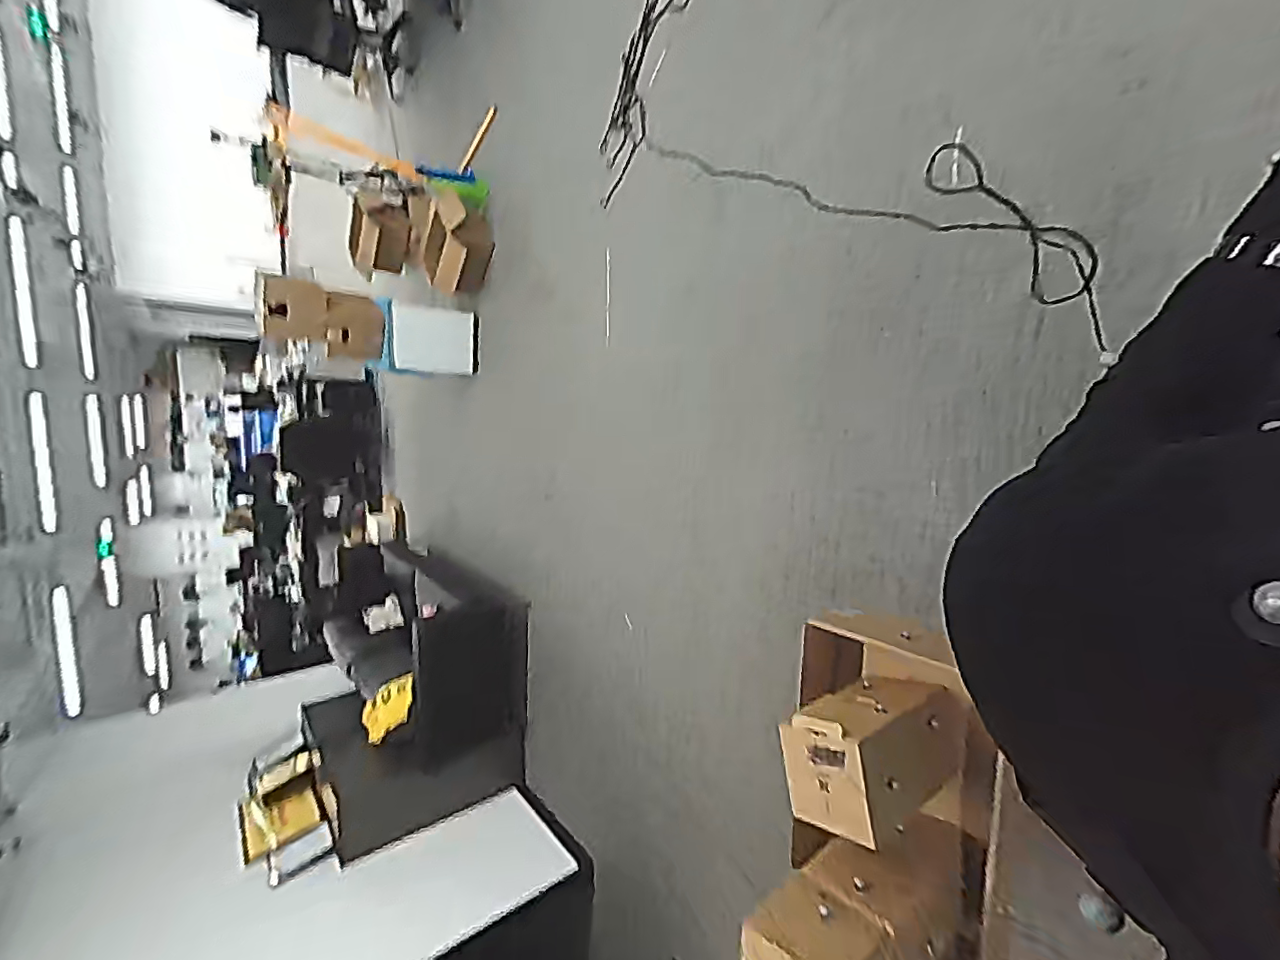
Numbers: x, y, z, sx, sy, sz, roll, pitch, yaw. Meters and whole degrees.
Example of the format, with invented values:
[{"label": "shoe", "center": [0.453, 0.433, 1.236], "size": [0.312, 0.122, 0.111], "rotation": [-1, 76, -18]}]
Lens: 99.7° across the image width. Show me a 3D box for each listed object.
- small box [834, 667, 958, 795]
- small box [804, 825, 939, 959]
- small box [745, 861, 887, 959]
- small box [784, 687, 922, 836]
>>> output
[{"label": "small box", "center": [0.523, 0.497, 1.106], "size": [0.168, 0.176, 0.179], "rotation": [-11, 85, 51]}, {"label": "small box", "center": [0.423, 0.774, 0.993], "size": [0.179, 0.176, 0.168], "rotation": [2, 95, 50]}, {"label": "small box", "center": [0.292, 0.793, 0.894], "size": [0.168, 0.176, 0.179], "rotation": [5, 96, 49]}, {"label": "small box", "center": [0.395, 0.504, 1.004], "size": [0.168, 0.176, 0.179], "rotation": [-12, 85, 52]}]
